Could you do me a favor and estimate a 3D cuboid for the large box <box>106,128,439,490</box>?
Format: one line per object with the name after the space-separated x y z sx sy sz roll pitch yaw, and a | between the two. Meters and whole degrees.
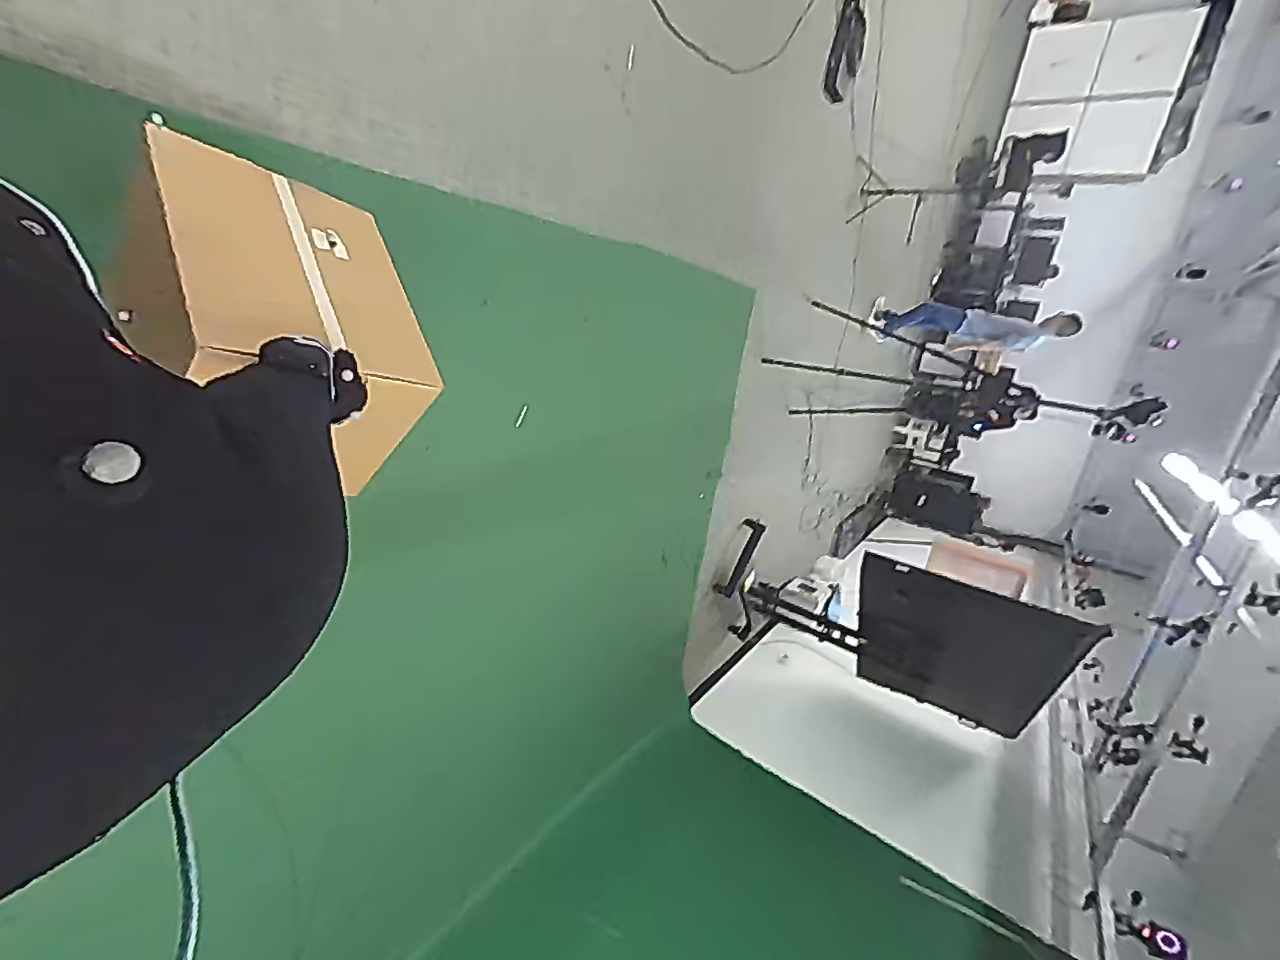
-0.594 -0.234 0.868 0.320 0.408 0.320 -39 159 28 | large box
